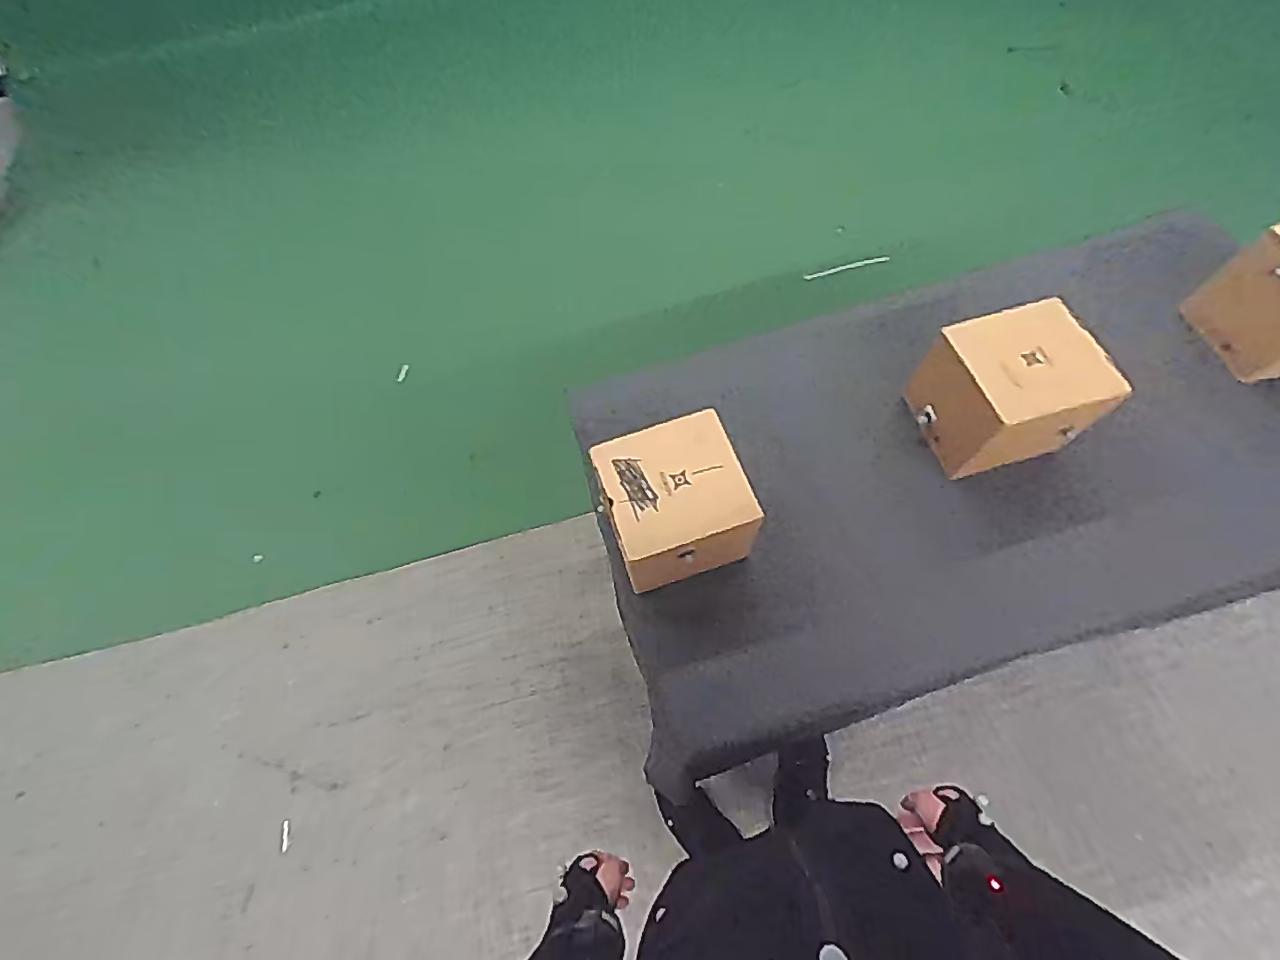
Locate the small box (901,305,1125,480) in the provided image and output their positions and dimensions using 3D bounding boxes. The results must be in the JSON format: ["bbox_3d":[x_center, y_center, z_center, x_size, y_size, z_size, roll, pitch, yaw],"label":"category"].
[{"bbox_3d":[0.525,-0.122,0.794,0.179,0.176,0.168,-16,64,-5],"label":"small box"}]

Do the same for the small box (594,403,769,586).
[{"bbox_3d":[0.049,0.028,0.730,0.179,0.176,0.168,-17,66,-8],"label":"small box"}]

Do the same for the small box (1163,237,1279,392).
[{"bbox_3d":[1.002,-0.261,0.844,0.179,0.176,0.168,-13,65,-5],"label":"small box"}]
